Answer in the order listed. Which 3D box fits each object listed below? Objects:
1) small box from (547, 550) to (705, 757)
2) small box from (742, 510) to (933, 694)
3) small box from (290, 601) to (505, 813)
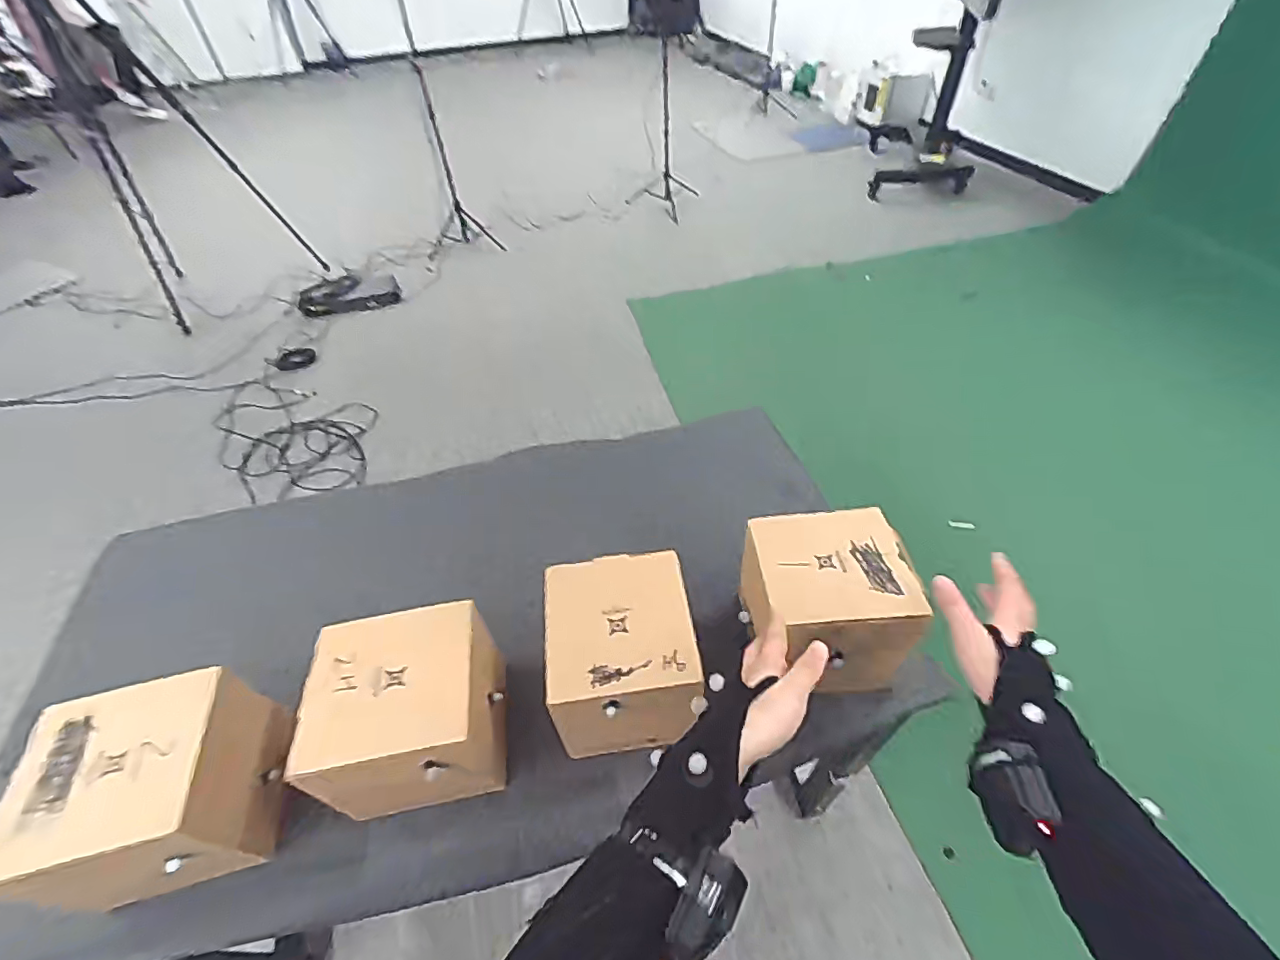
[{"bbox_3d":[-0.017,0.214,0.671,0.168,0.176,0.179,-8,44,-1],"label":"small box"},{"bbox_3d":[0.236,0.159,0.697,0.179,0.176,0.168,-4,42,1],"label":"small box"},{"bbox_3d":[-0.262,0.269,0.639,0.179,0.176,0.168,-10,46,-4],"label":"small box"}]
